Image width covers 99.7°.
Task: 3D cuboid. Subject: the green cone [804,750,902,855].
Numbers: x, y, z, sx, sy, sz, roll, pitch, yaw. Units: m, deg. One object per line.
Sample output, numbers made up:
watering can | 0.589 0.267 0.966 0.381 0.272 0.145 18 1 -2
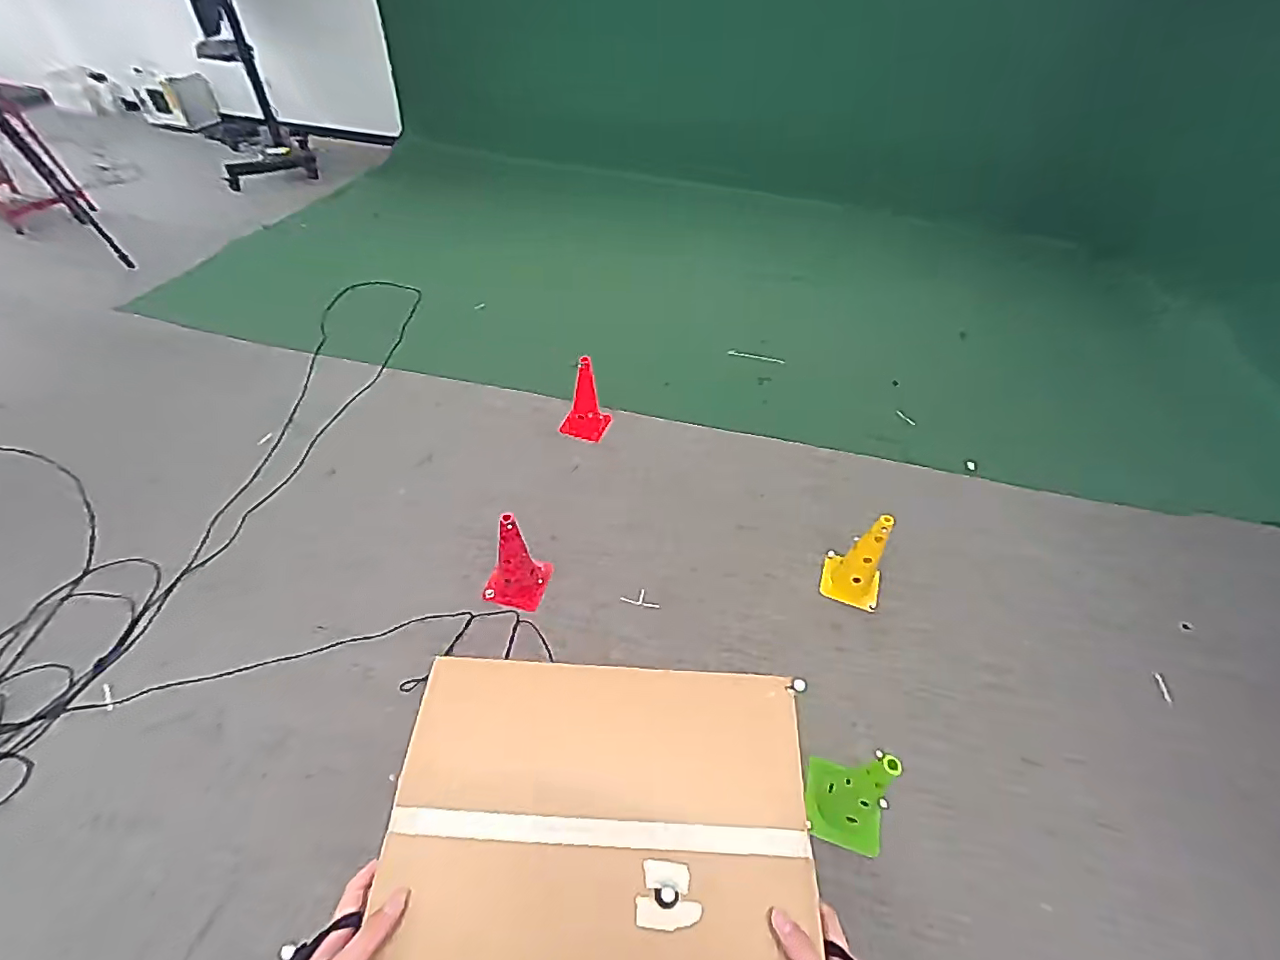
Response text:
green cone | 0.566 0.764 1.353 0.200 0.368 0.202 16 46 9

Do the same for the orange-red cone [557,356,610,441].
orange-red cone | -0.249 -0.377 2.355 0.199 0.360 0.198 16 47 12

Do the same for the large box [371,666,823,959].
large box | -0.038 0.431 0.647 0.408 0.320 0.320 3 55 0
